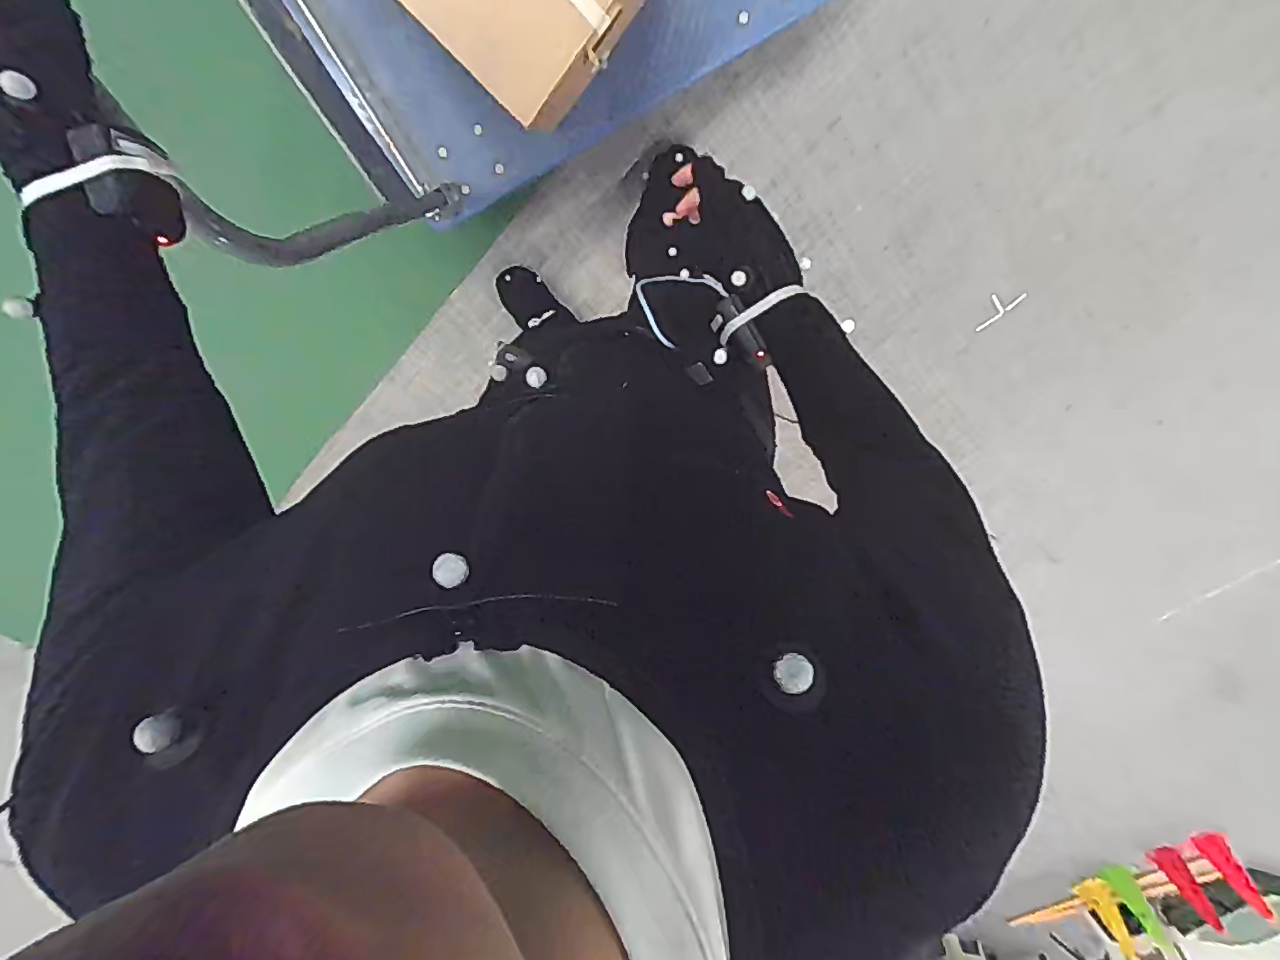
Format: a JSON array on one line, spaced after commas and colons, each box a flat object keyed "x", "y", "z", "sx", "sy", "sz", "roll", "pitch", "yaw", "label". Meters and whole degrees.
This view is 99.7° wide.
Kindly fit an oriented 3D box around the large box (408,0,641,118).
[{"x": -0.194, "y": -0.785, "z": 0.737, "sx": 0.408, "sy": 0.320, "sz": 0.320, "roll": 39, "pitch": 115, "yaw": -22, "label": "large box"}]
